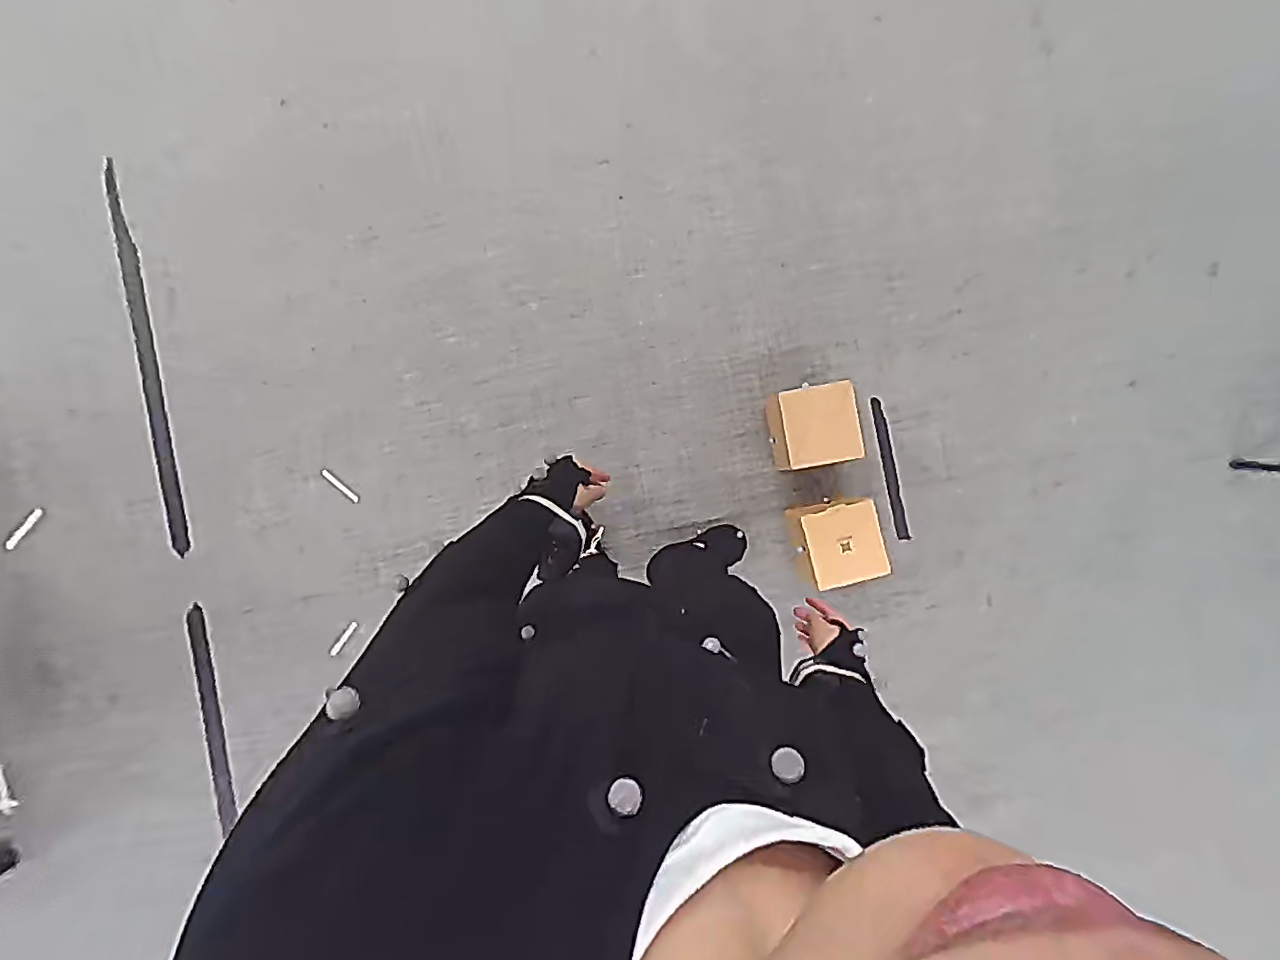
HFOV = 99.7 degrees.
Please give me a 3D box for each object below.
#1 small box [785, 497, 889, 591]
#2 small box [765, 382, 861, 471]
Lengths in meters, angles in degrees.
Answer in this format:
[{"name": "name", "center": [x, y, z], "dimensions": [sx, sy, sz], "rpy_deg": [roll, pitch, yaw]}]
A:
[{"name": "small box", "center": [0.458, 0.144, 1.282], "dimensions": [0.168, 0.176, 0.179], "rpy_deg": [-15, 90, 2]}, {"name": "small box", "center": [0.404, -0.121, 1.276], "dimensions": [0.168, 0.176, 0.179], "rpy_deg": [-10, 91, 2]}]
